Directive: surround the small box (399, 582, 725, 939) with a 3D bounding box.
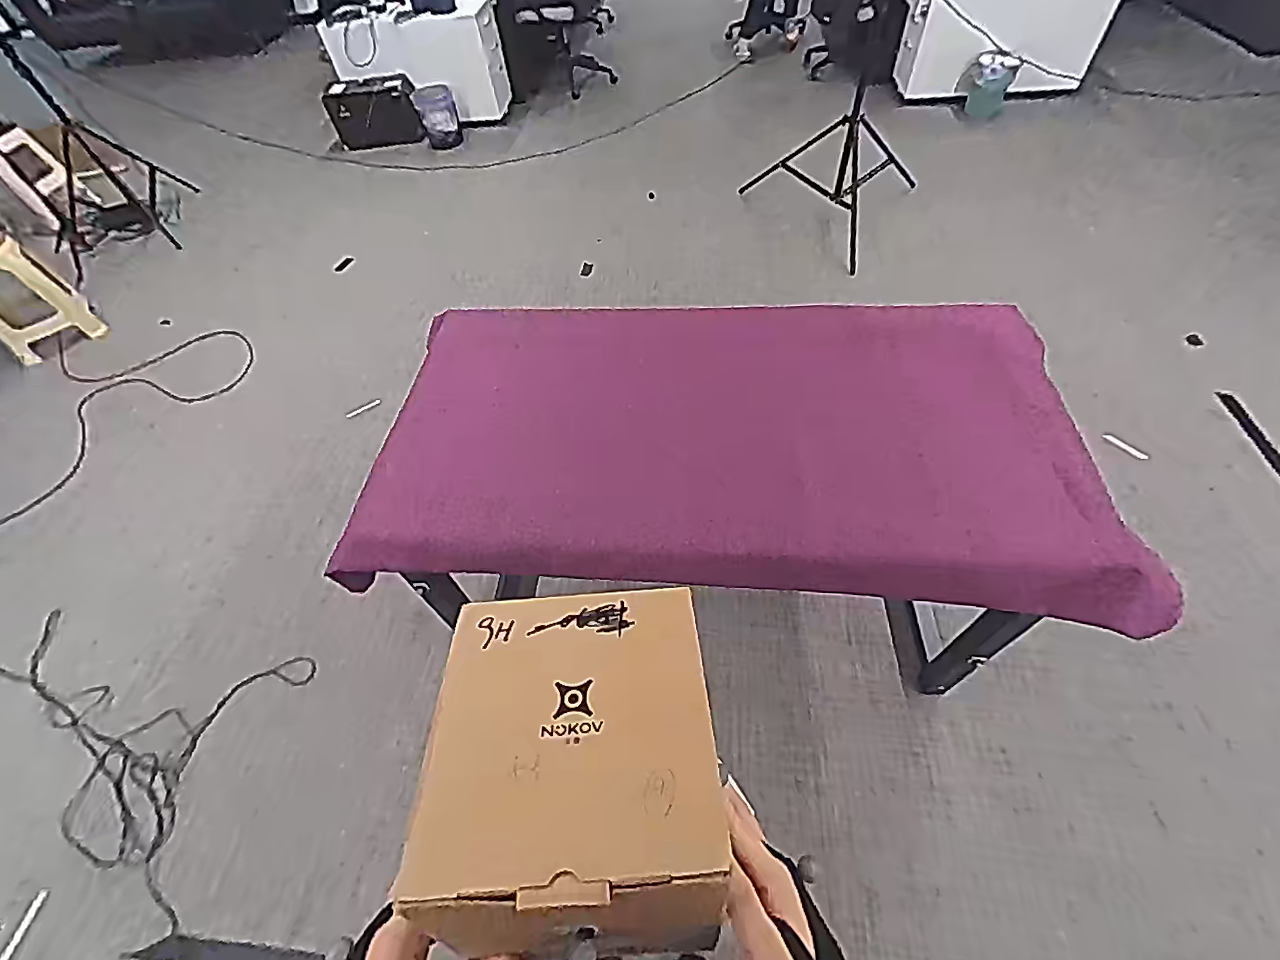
[{"bbox_3d":[-0.036,0.196,0.377,0.168,0.176,0.179,-4,41,0],"label":"small box"}]
